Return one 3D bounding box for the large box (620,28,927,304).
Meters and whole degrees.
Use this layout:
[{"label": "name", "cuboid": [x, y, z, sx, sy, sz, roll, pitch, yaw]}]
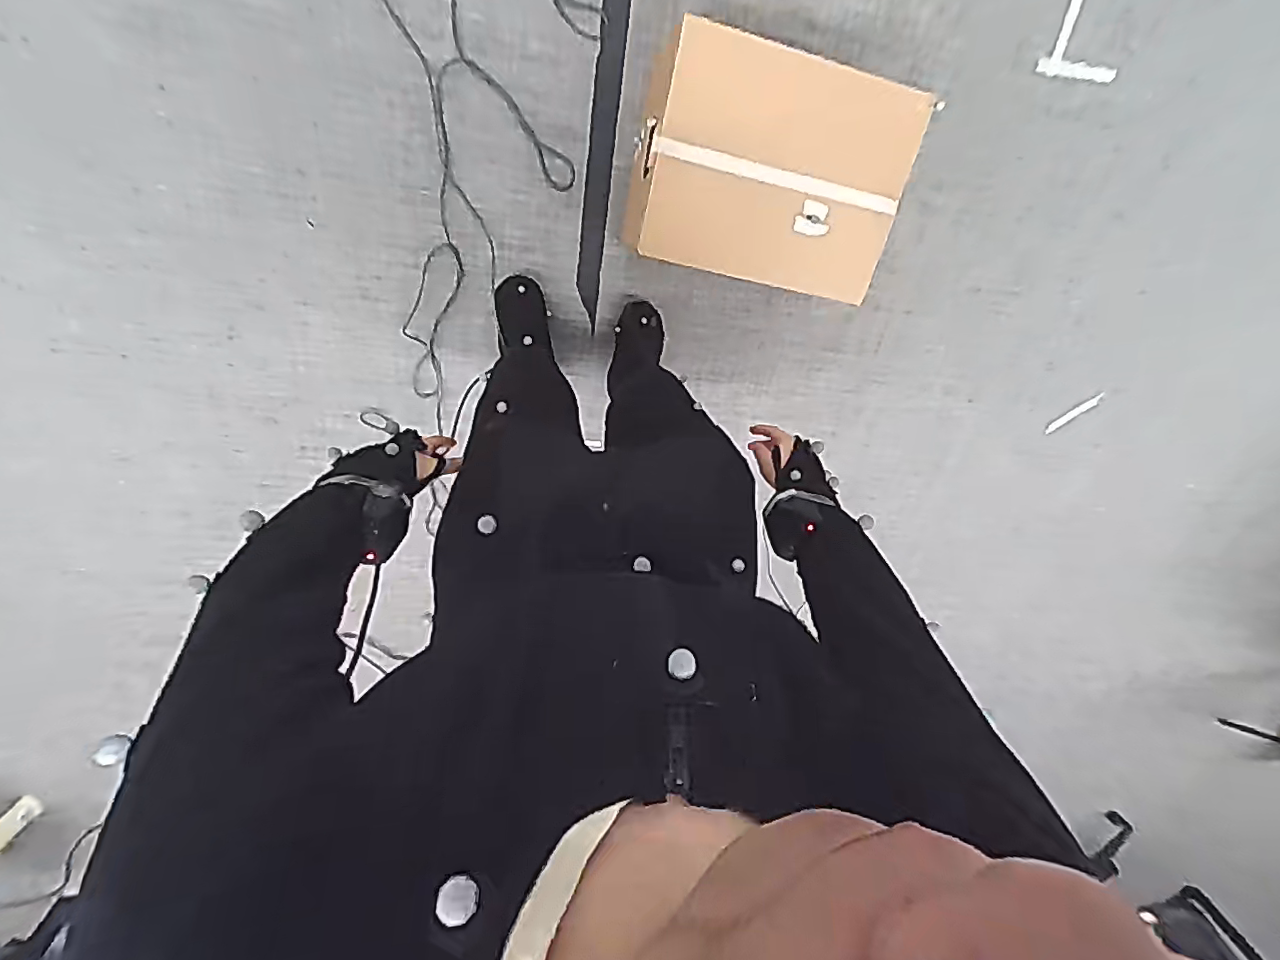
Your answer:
[{"label": "large box", "cuboid": [0.196, -0.530, 0.975, 0.408, 0.320, 0.320, 8, 116, -12]}]
